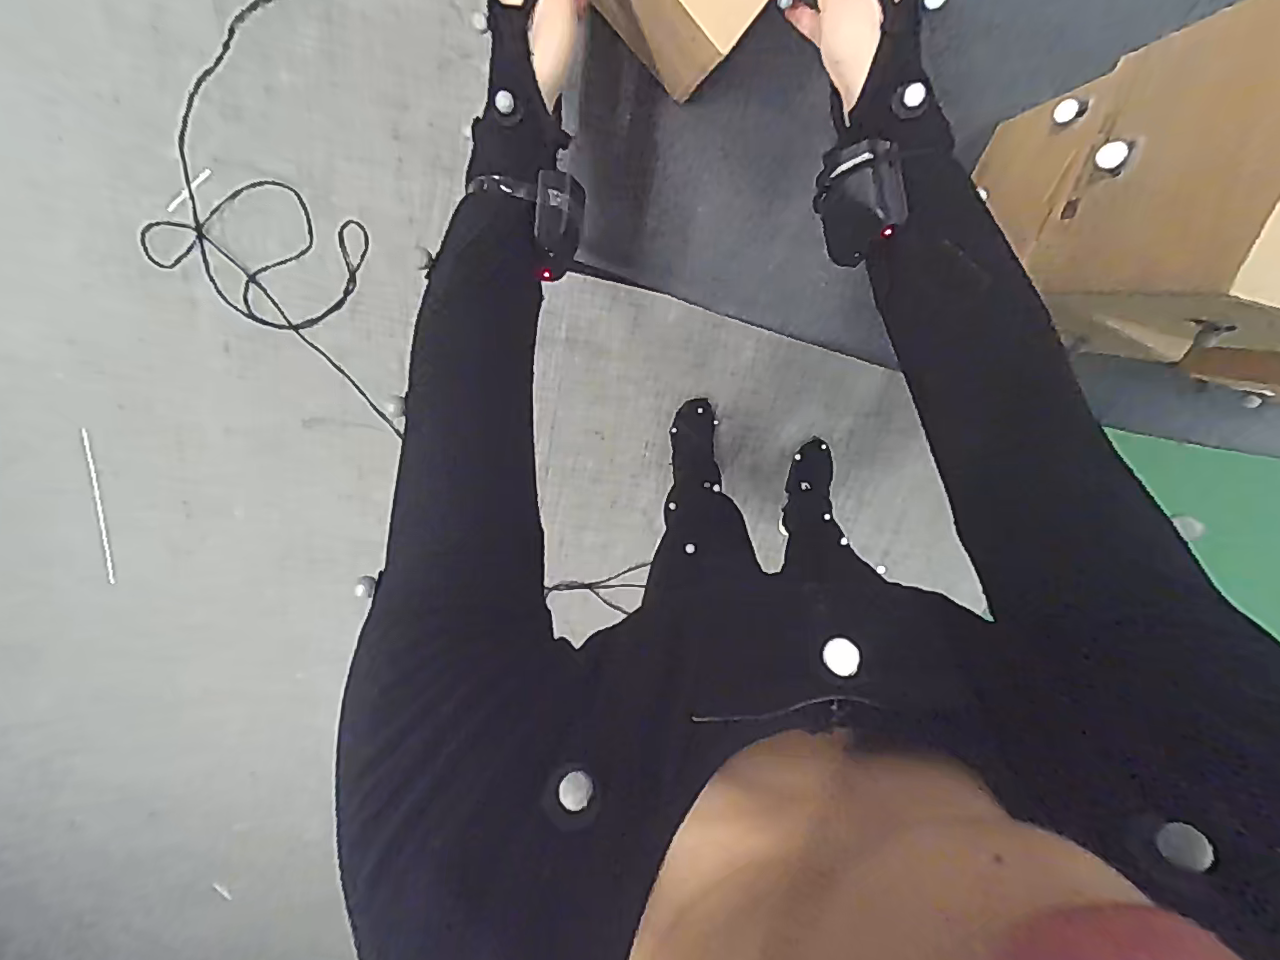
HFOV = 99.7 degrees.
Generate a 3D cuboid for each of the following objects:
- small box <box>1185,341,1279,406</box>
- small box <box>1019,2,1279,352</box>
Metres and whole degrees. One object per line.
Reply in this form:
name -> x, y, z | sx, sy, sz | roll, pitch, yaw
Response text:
small box -> 0.710, -0.155, 0.525 | 0.168, 0.176, 0.179 | 13, 109, -3
small box -> 0.402, -0.179, 0.341 | 0.179, 0.176, 0.168 | 13, 108, -5
